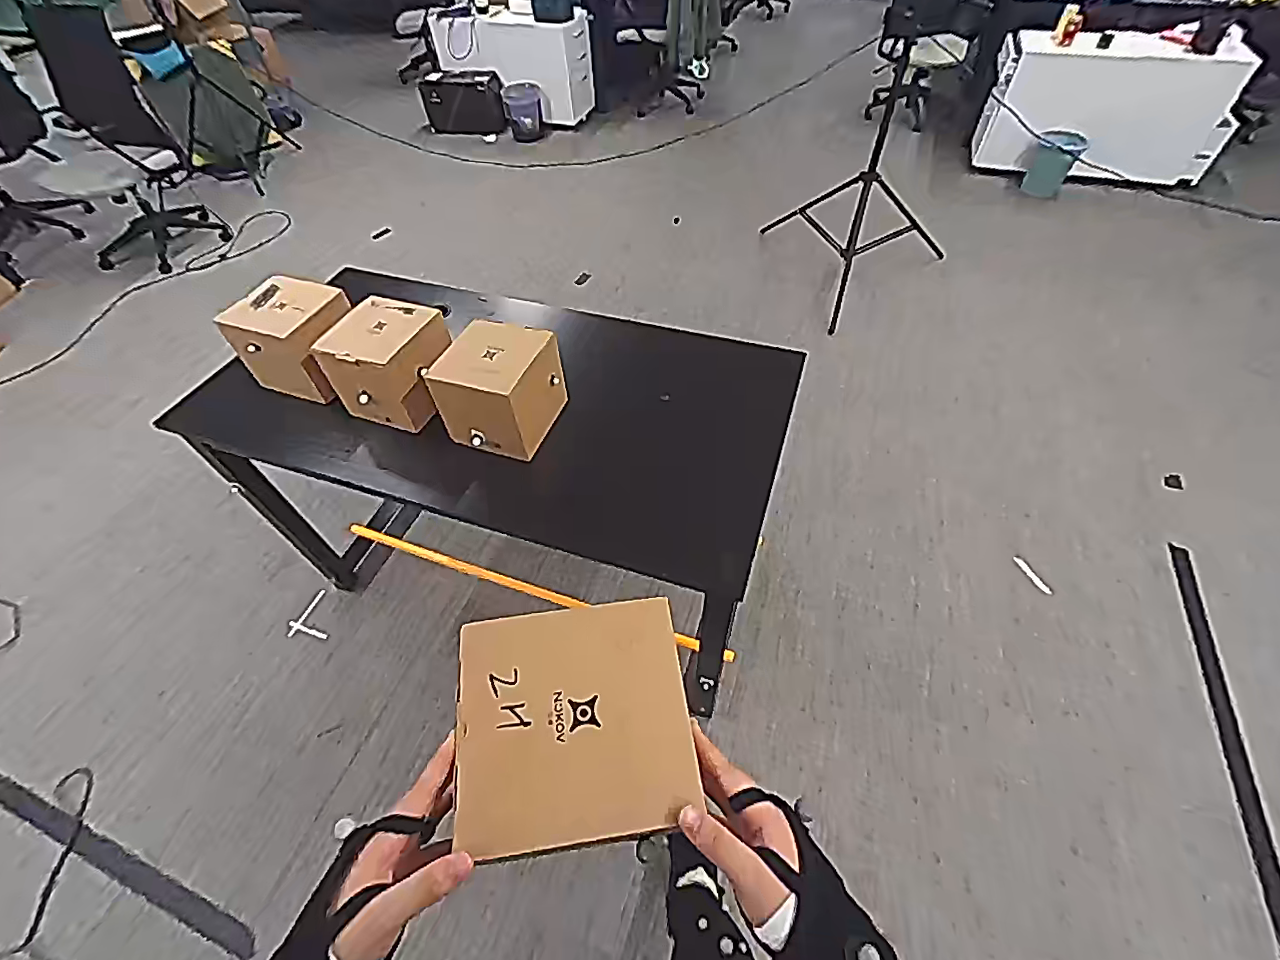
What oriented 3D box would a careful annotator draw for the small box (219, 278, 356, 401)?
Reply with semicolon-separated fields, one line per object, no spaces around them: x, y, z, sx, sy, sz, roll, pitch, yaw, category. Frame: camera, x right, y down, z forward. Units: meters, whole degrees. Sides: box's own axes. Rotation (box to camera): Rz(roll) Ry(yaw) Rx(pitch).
-0.689;-0.285;1.110;0.179;0.176;0.168;15;54;13;small box

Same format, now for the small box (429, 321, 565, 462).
-0.248;-0.162;0.998;0.168;0.176;0.179;13;54;14;small box

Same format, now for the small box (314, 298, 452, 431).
-0.474;-0.220;1.051;0.168;0.176;0.179;16;54;13;small box

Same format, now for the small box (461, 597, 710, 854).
-0.047;0.221;0.483;0.179;0.176;0.168;-7;56;-5;small box
